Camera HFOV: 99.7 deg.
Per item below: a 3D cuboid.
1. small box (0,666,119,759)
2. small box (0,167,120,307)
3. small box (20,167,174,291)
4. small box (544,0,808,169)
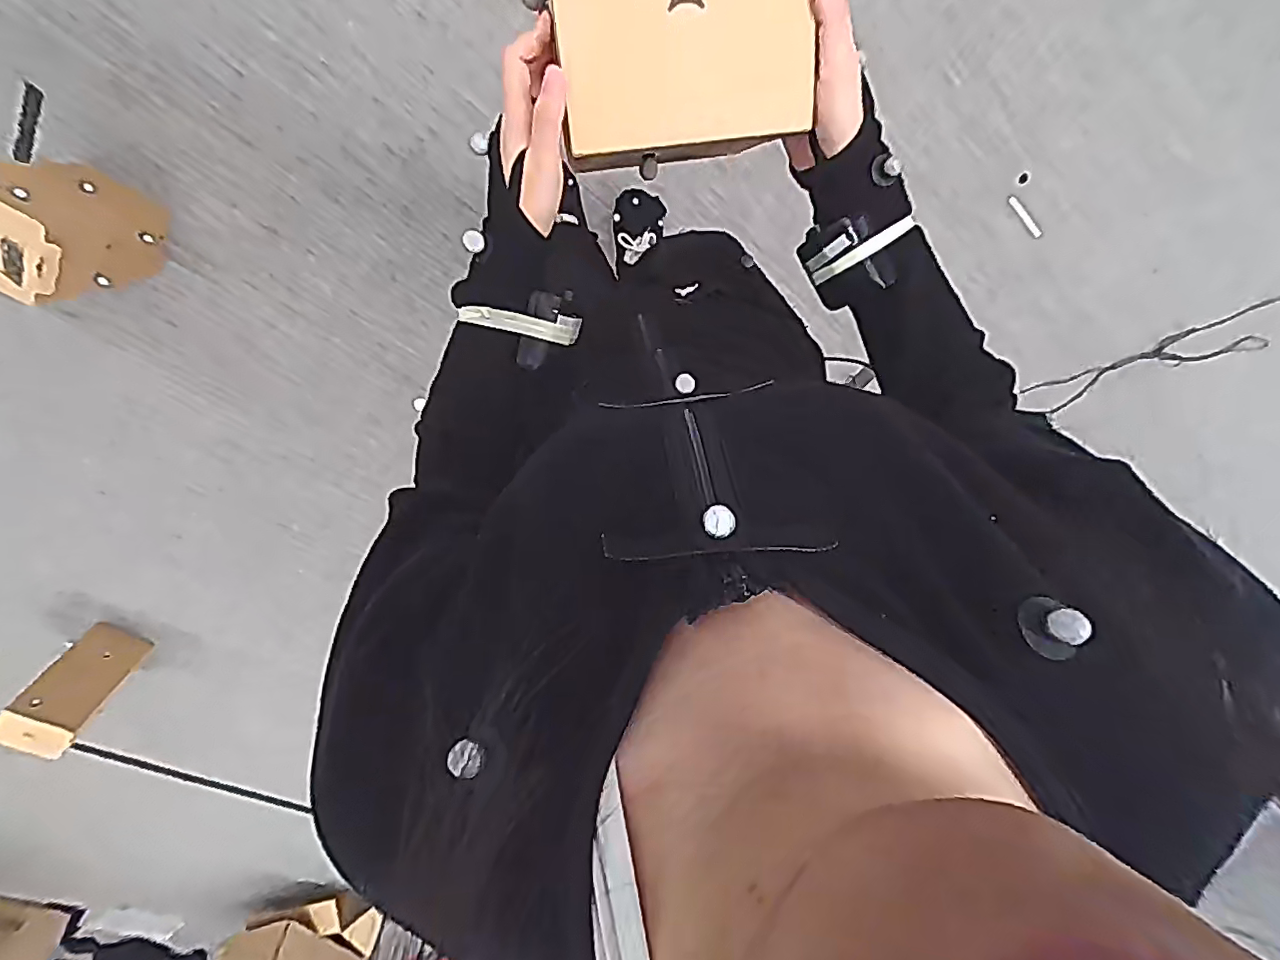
[{"bbox_3d":[-1.727,0.682,1.604,0.179,0.176,0.168,36,112,-24],"label":"small box"},{"bbox_3d":[-1.126,-0.453,0.996,0.179,0.176,0.168,29,113,-20],"label":"small box"},{"bbox_3d":[-1.143,-0.532,1.140,0.179,0.176,0.168,29,113,-19],"label":"small box"},{"bbox_3d":[0.015,-0.338,0.397,0.168,0.176,0.179,-8,115,-3],"label":"small box"}]
